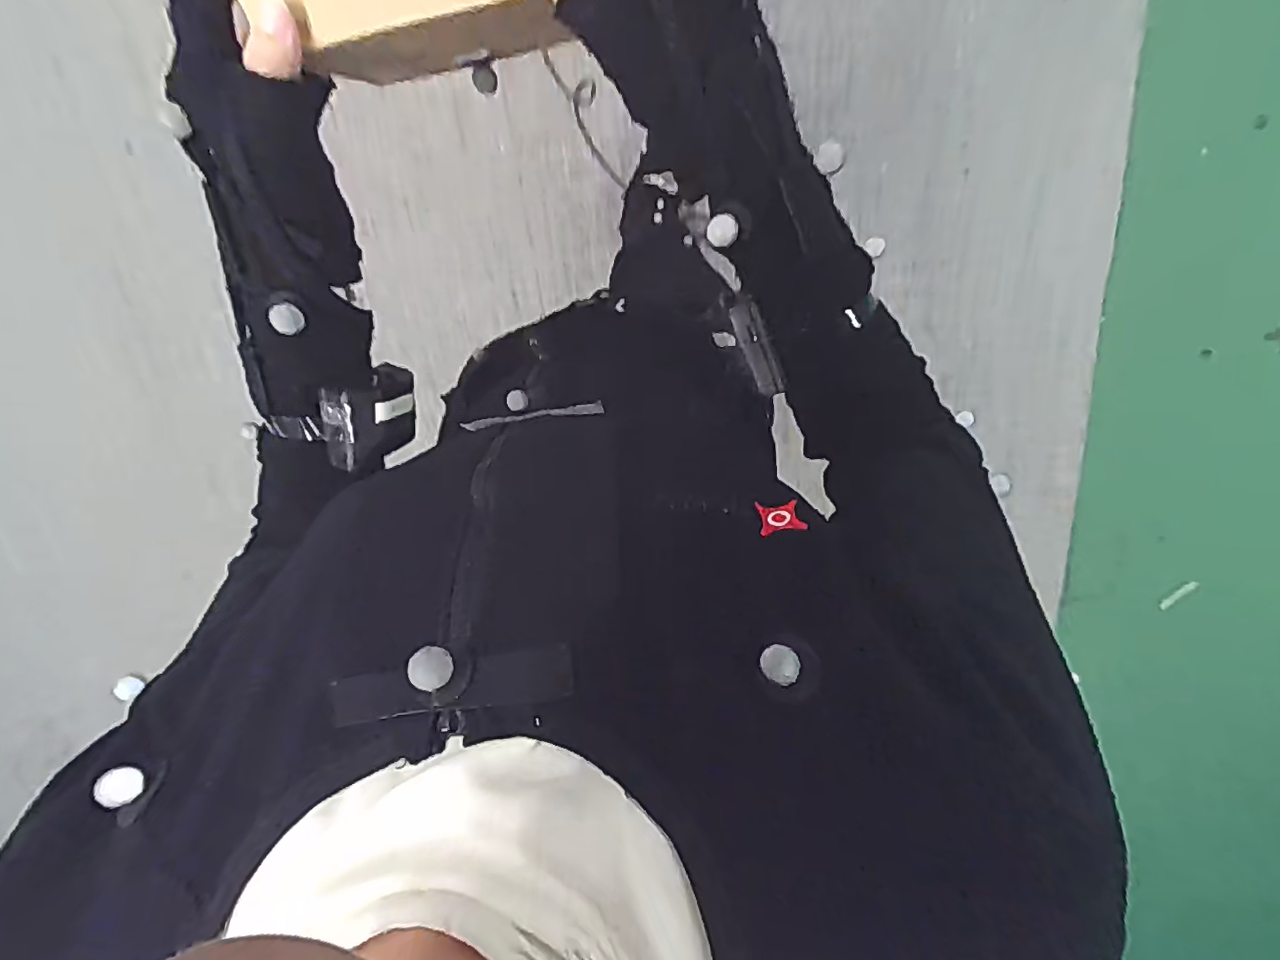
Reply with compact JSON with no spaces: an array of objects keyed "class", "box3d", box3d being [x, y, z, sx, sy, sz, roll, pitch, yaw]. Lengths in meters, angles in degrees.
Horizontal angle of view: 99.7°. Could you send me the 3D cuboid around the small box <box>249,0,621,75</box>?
[{"class":"small box","box3d":[-0.104,-0.322,0.255,0.168,0.176,0.179,-11,122,3]}]
